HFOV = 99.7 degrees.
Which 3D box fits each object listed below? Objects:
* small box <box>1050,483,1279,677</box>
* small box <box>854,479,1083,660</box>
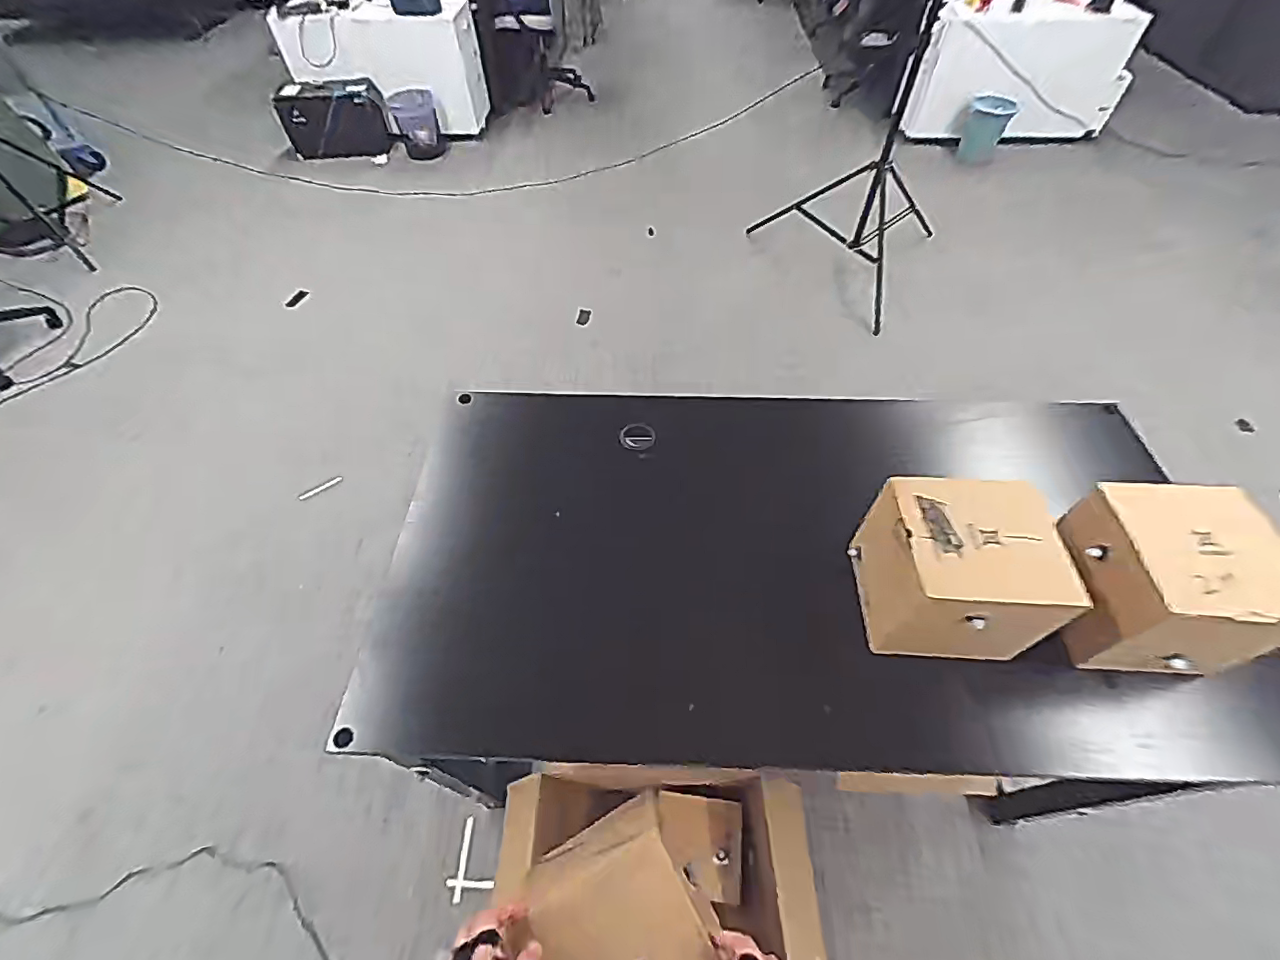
[{"bbox_3d":[0.631,0.125,0.670,0.168,0.176,0.179,2,53,3],"label":"small box"},{"bbox_3d":[0.385,0.117,0.681,0.179,0.176,0.168,3,53,2],"label":"small box"}]
